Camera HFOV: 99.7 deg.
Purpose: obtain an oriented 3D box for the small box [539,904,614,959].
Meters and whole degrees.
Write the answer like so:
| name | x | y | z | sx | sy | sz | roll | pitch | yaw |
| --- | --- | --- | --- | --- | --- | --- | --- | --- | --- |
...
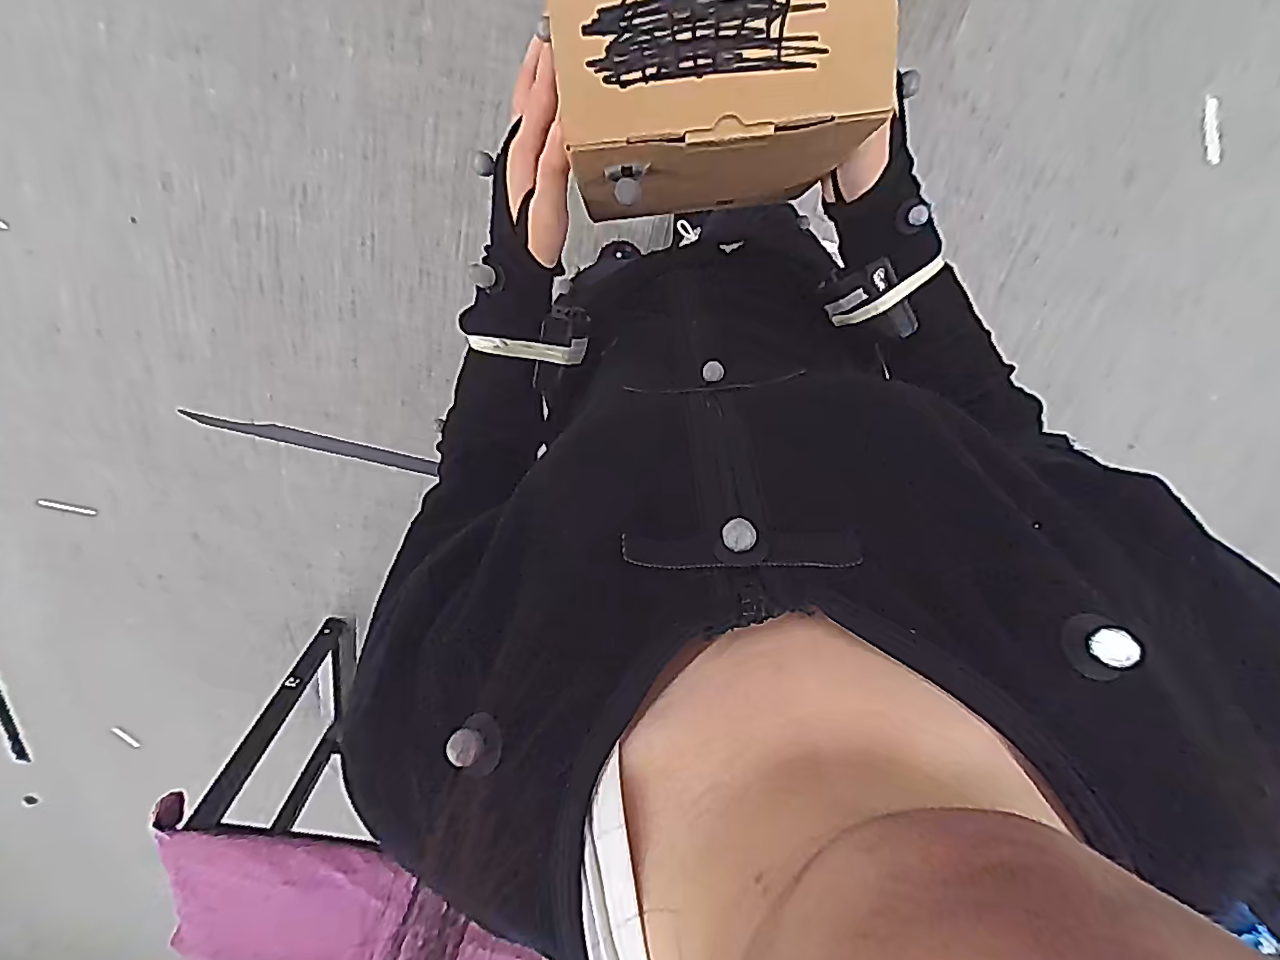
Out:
| name | x | y | z | sx | sy | sz | roll | pitch | yaw |
| --- | --- | --- | --- | --- | --- | --- | --- | --- | --- |
| small box | -0.159 | 1.176 | 1.316 | 0.168 | 0.176 | 0.179 | 10 | 118 | -7 |
